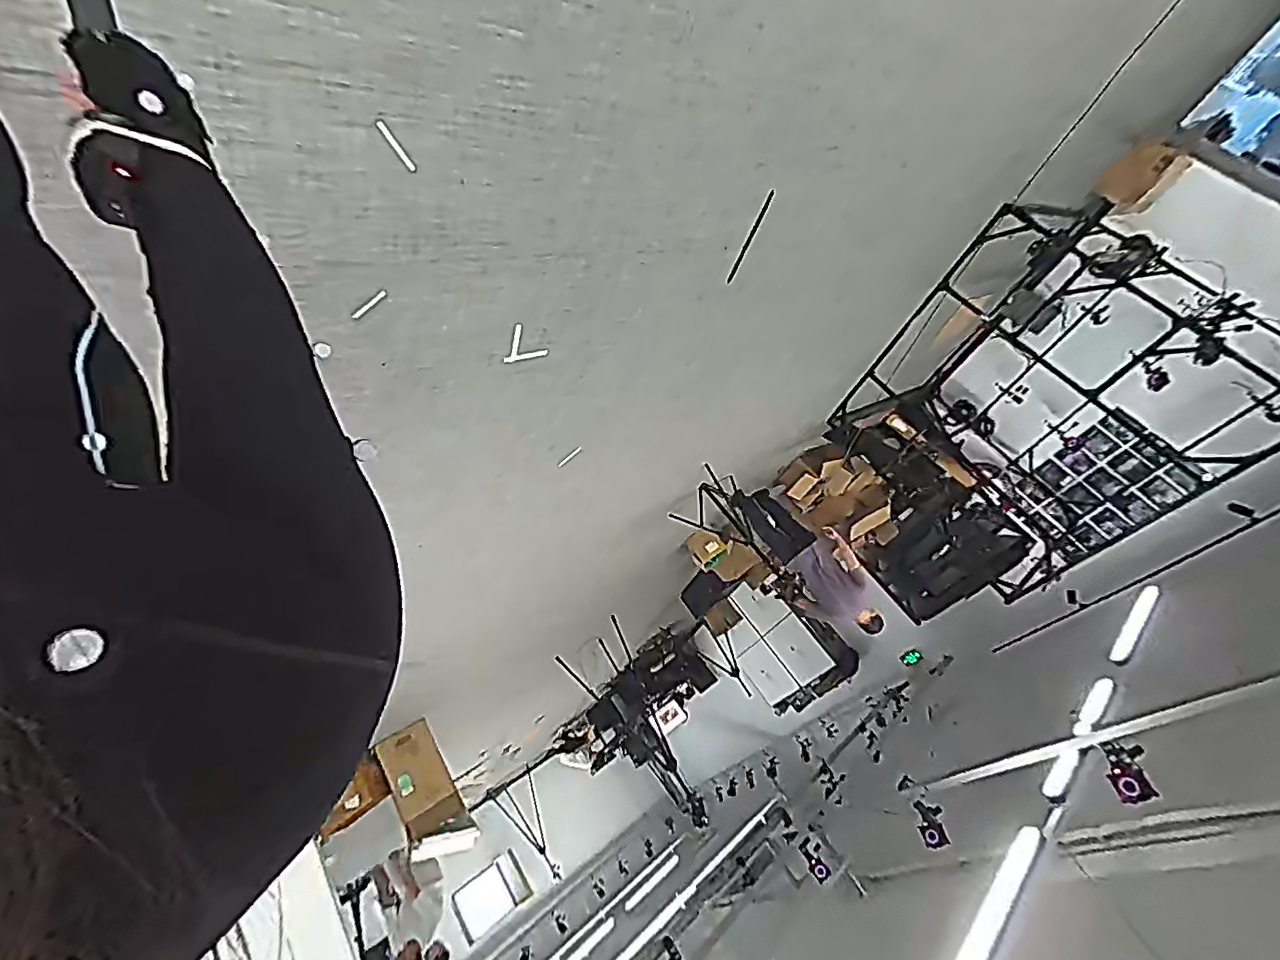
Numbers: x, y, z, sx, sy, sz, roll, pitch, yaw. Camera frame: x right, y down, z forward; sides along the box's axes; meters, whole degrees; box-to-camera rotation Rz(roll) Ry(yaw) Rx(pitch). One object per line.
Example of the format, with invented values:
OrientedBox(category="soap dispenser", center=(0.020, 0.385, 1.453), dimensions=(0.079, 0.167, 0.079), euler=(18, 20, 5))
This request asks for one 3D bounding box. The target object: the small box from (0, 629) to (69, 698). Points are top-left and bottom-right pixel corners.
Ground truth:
OrientedBox(category="small box", center=(-1.737, 0.541, 1.489), dimensions=(0.179, 0.176, 0.168), euler=(-18, 150, -39))
